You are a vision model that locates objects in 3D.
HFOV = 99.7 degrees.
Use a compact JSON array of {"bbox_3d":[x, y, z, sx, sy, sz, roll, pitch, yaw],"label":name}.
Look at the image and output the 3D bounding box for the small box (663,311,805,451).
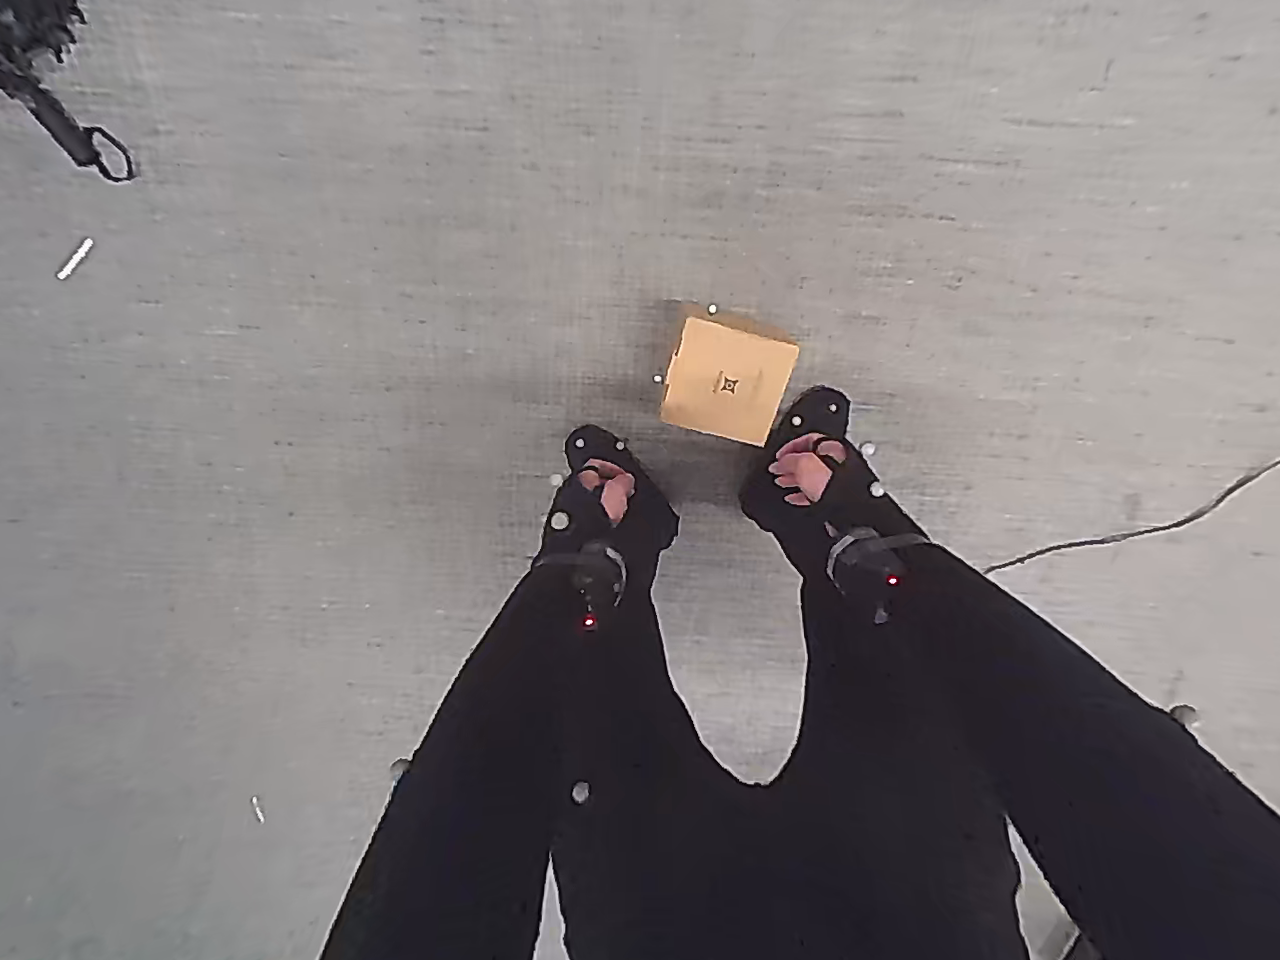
[{"bbox_3d":[0.140,-0.170,0.890,0.179,0.176,0.168,13,116,-6],"label":"small box"}]
